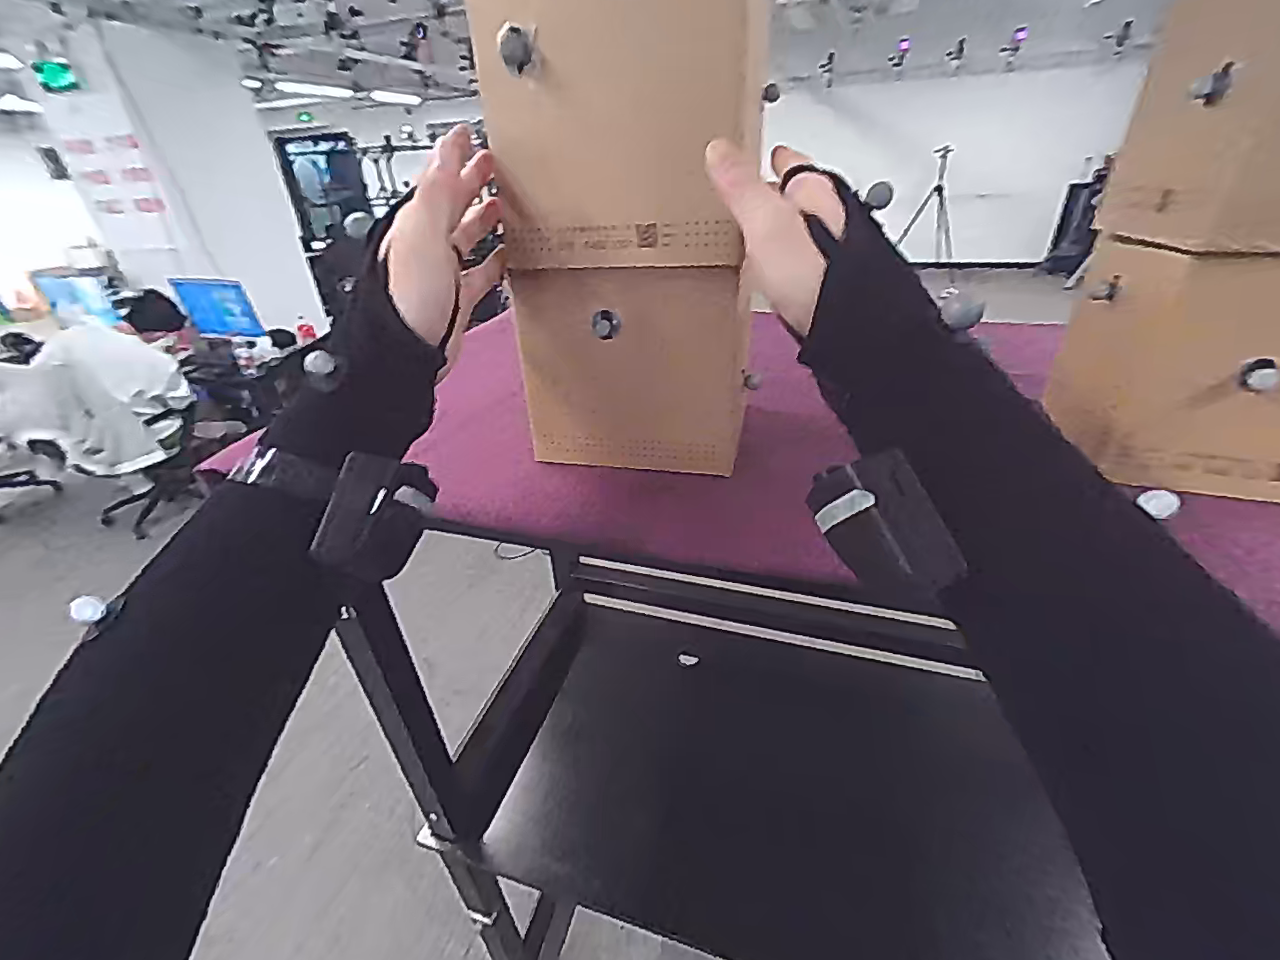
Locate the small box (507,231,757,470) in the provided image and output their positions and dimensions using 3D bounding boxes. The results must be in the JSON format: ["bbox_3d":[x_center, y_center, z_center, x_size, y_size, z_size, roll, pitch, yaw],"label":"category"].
[{"bbox_3d":[0.008,-0.121,0.487,0.179,0.176,0.168,5,32,14],"label":"small box"}]

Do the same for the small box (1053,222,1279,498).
[{"bbox_3d":[0.448,-0.097,0.406,0.168,0.176,0.179,8,31,20],"label":"small box"}]

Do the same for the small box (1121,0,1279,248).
[{"bbox_3d":[0.434,-0.236,0.320,0.179,0.176,0.168,7,32,17],"label":"small box"}]
